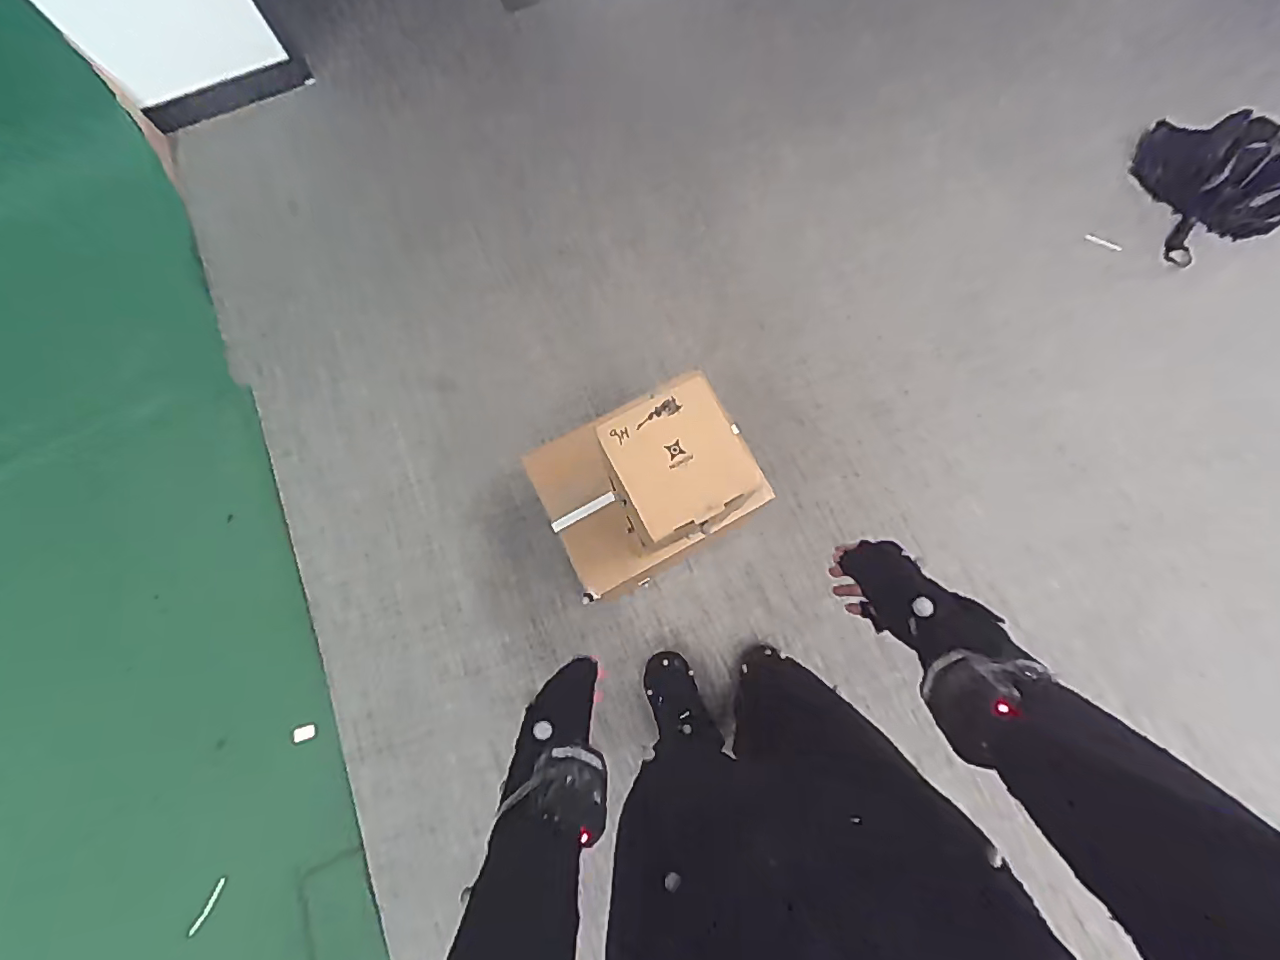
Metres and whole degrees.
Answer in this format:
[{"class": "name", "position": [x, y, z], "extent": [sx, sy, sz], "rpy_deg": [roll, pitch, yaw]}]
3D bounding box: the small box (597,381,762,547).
[{"class": "small box", "position": [0.054, -0.011, 0.793], "extent": [0.168, 0.176, 0.179], "rpy_deg": [-27, 79, -5]}]

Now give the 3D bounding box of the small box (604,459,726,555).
[{"class": "small box", "position": [0.053, 0.022, 0.953], "extent": [0.179, 0.176, 0.168], "rpy_deg": [-25, 79, -5]}]
